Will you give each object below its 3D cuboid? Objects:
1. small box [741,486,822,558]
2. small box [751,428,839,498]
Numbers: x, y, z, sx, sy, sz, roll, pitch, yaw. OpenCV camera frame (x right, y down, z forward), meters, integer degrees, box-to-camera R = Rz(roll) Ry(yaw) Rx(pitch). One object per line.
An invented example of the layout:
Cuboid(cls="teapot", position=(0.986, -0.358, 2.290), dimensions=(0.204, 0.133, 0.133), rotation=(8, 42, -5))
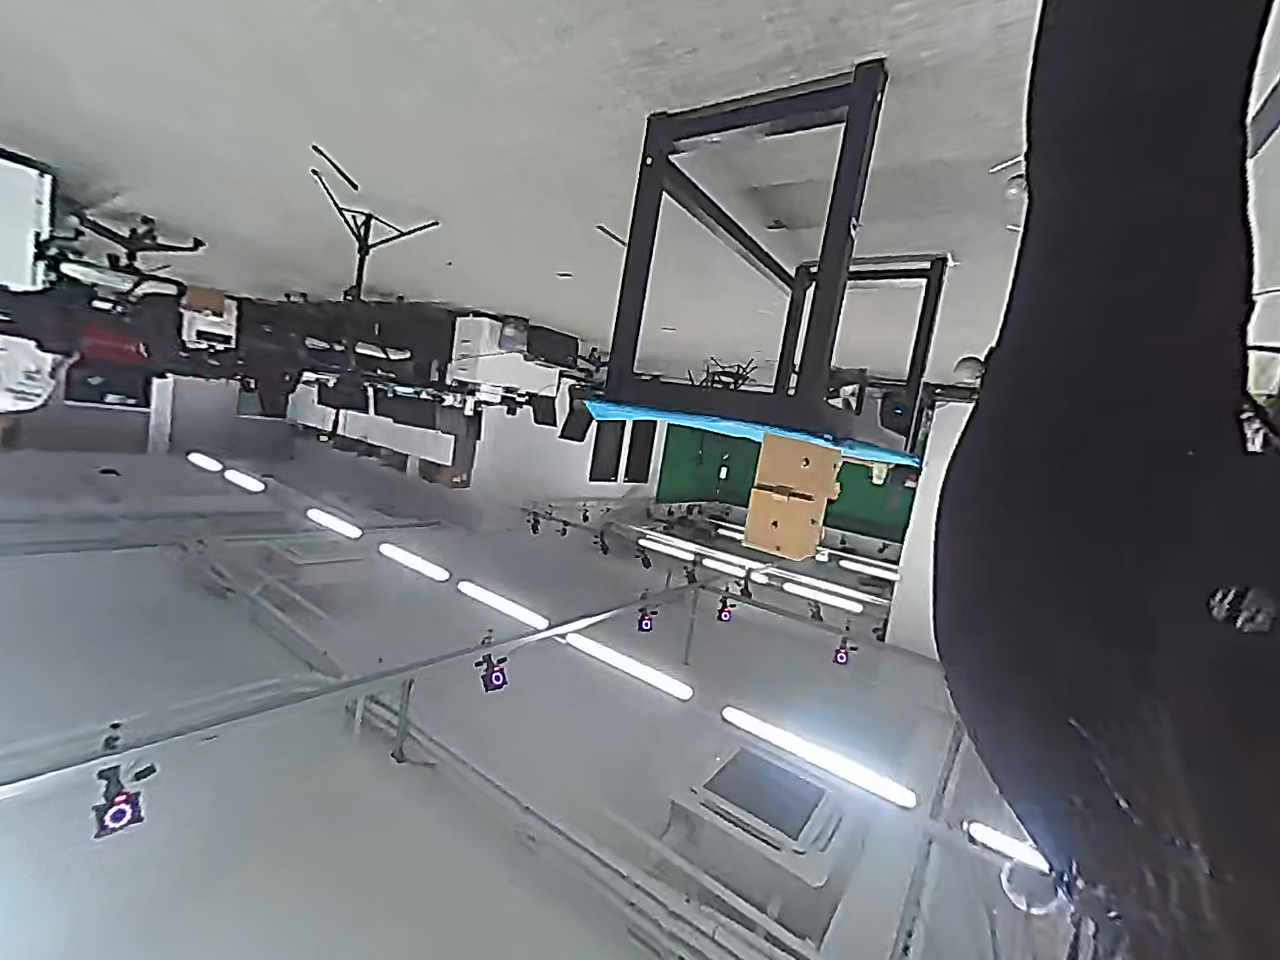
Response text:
Cuboid(cls="small box", position=(0.397, 0.114, 1.526), dimensions=(0.168, 0.176, 0.179), rotation=(15, -170, 32))
Cuboid(cls="small box", position=(0.433, -0.046, 1.511), dimensions=(0.179, 0.176, 0.168), rotation=(14, -173, 34))
